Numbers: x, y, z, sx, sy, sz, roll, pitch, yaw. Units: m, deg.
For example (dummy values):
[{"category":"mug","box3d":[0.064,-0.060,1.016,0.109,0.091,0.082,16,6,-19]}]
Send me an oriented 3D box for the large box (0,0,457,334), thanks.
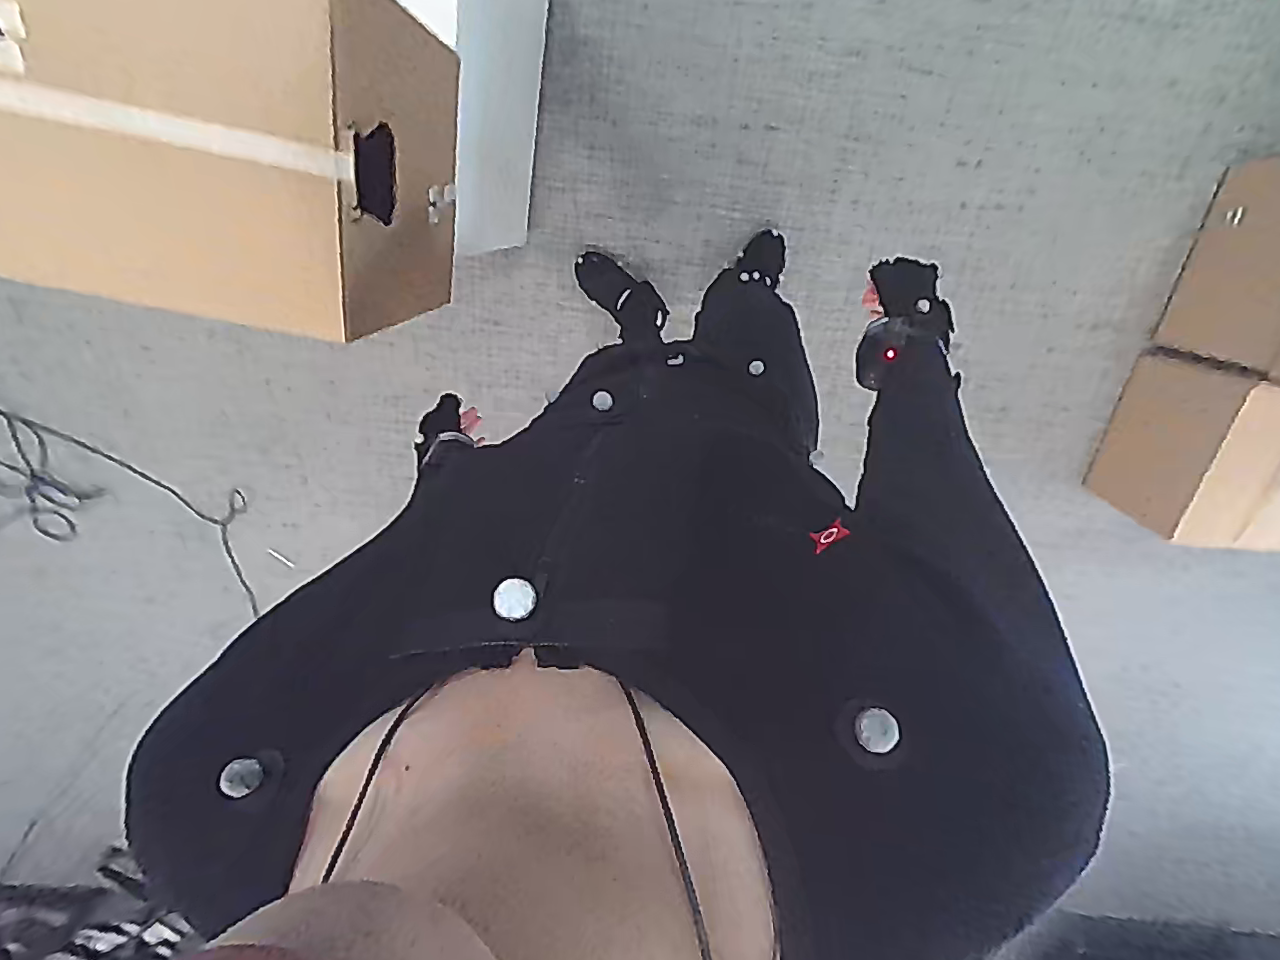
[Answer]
[{"category":"large box","box3d":[-0.451,-0.377,0.599,0.408,0.320,0.320,10,115,-3]}]
